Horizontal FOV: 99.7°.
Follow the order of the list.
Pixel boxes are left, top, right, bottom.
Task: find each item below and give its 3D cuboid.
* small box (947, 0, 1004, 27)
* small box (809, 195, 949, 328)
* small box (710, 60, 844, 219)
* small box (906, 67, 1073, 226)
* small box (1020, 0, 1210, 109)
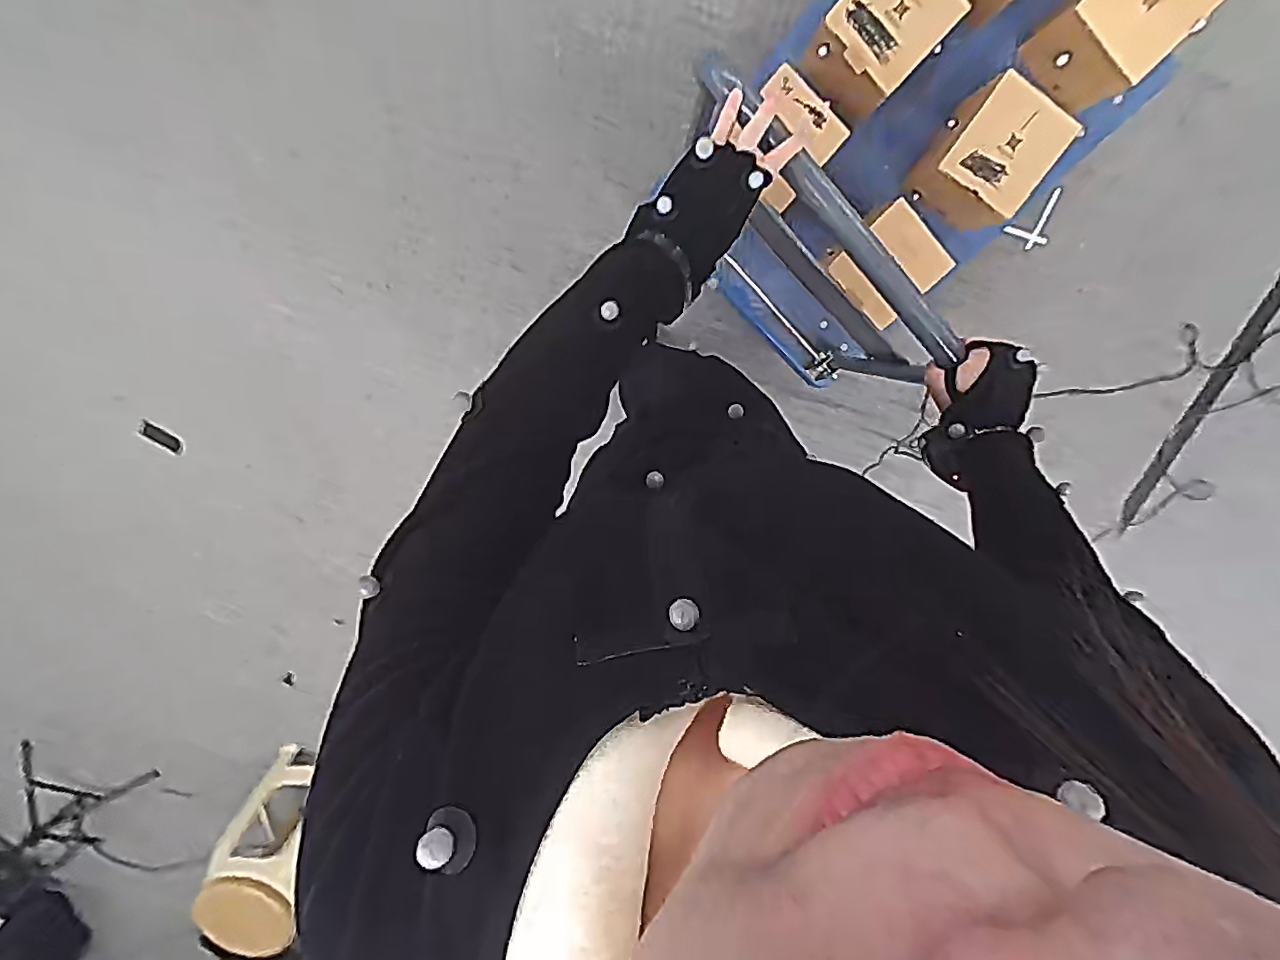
[{"bbox_3d":[0.622,-0.932,0.907,0.179,0.176,0.168,-41,102,15],"label":"small box"},{"bbox_3d":[0.462,-0.428,1.083,0.179,0.176,0.168,-43,102,14],"label":"small box"},{"bbox_3d":[0.247,-0.626,1.027,0.168,0.176,0.179,40,106,-11],"label":"small box"},{"bbox_3d":[0.634,-0.607,1.014,0.168,0.176,0.179,32,106,-7],"label":"small box"},{"bbox_3d":[0.813,-0.800,0.943,0.168,0.176,0.179,41,105,-10],"label":"small box"}]
